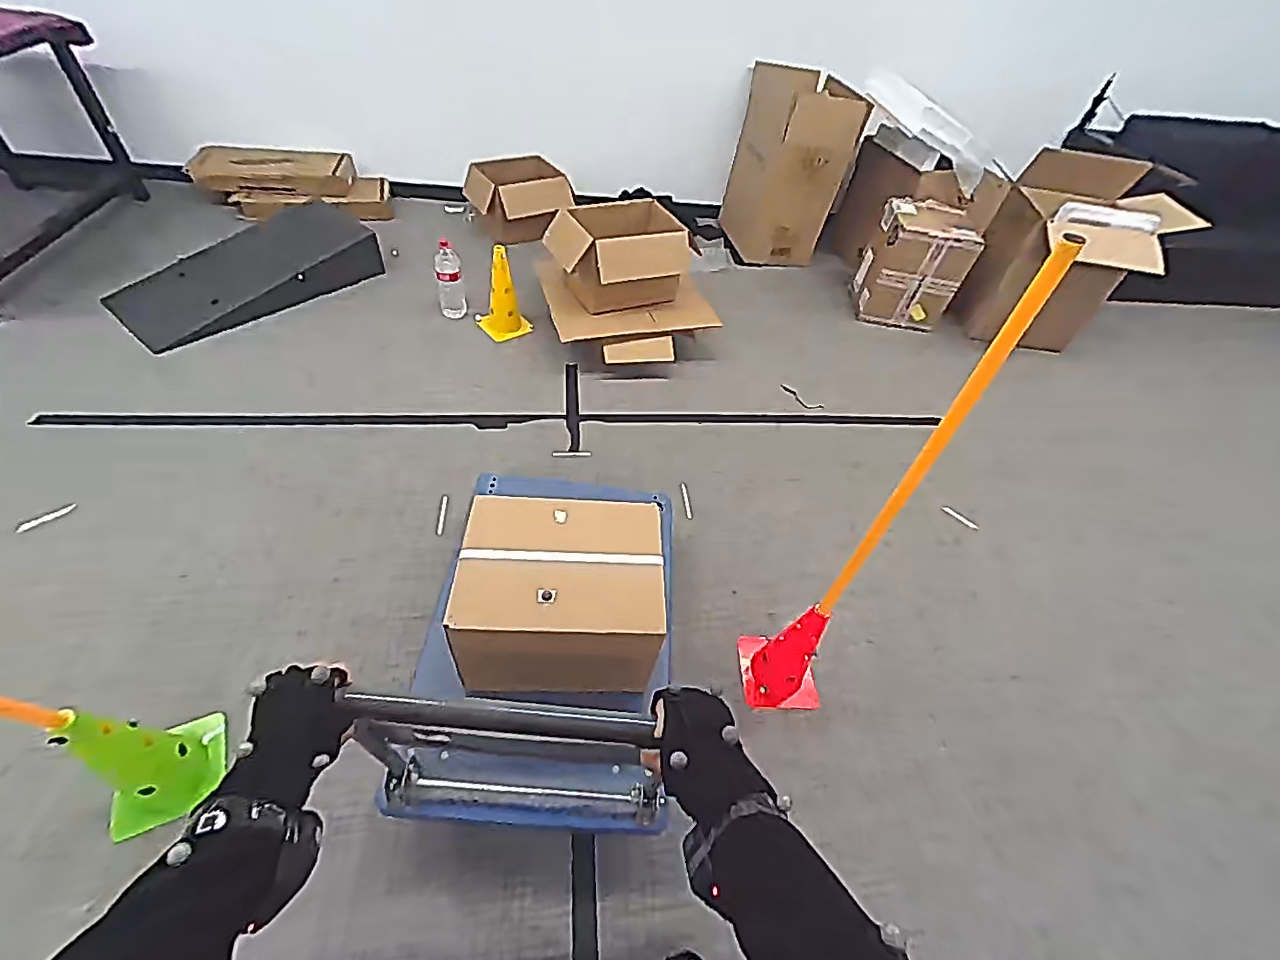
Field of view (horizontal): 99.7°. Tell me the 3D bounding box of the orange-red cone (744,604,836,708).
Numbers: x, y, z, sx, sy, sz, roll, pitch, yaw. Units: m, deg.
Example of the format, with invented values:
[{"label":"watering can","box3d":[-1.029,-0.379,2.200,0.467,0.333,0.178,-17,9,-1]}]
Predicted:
[{"label":"orange-red cone","box3d":[0.410,0.412,1.362,0.199,0.360,0.198,5,49,-6]}]
